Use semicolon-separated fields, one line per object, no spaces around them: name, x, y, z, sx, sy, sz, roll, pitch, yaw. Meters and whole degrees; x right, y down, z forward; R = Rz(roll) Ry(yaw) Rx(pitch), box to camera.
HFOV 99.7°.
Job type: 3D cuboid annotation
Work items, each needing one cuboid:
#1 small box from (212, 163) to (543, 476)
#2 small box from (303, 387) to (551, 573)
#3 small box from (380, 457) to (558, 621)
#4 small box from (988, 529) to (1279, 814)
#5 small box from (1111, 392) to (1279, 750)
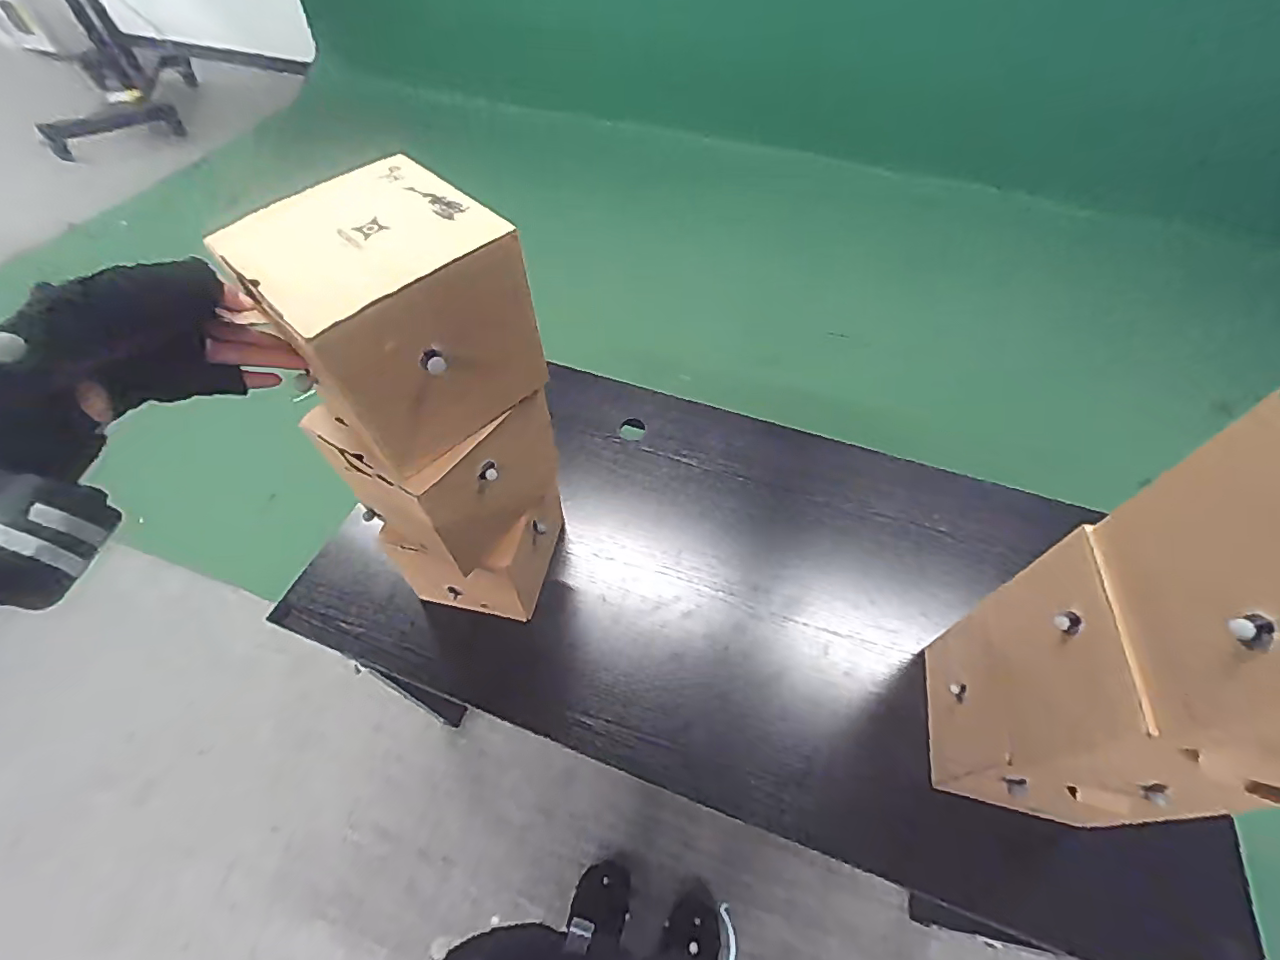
small box;-0.209;-0.135;0.478;0.168;0.176;0.179;39;66;22
small box;-0.216;-0.026;0.606;0.168;0.176;0.179;29;59;17
small box;-0.215;0.069;0.740;0.168;0.176;0.179;10;56;6
small box;0.439;0.172;0.475;0.168;0.176;0.179;10;55;7
small box;0.448;0.069;0.328;0.168;0.176;0.179;11;54;6
